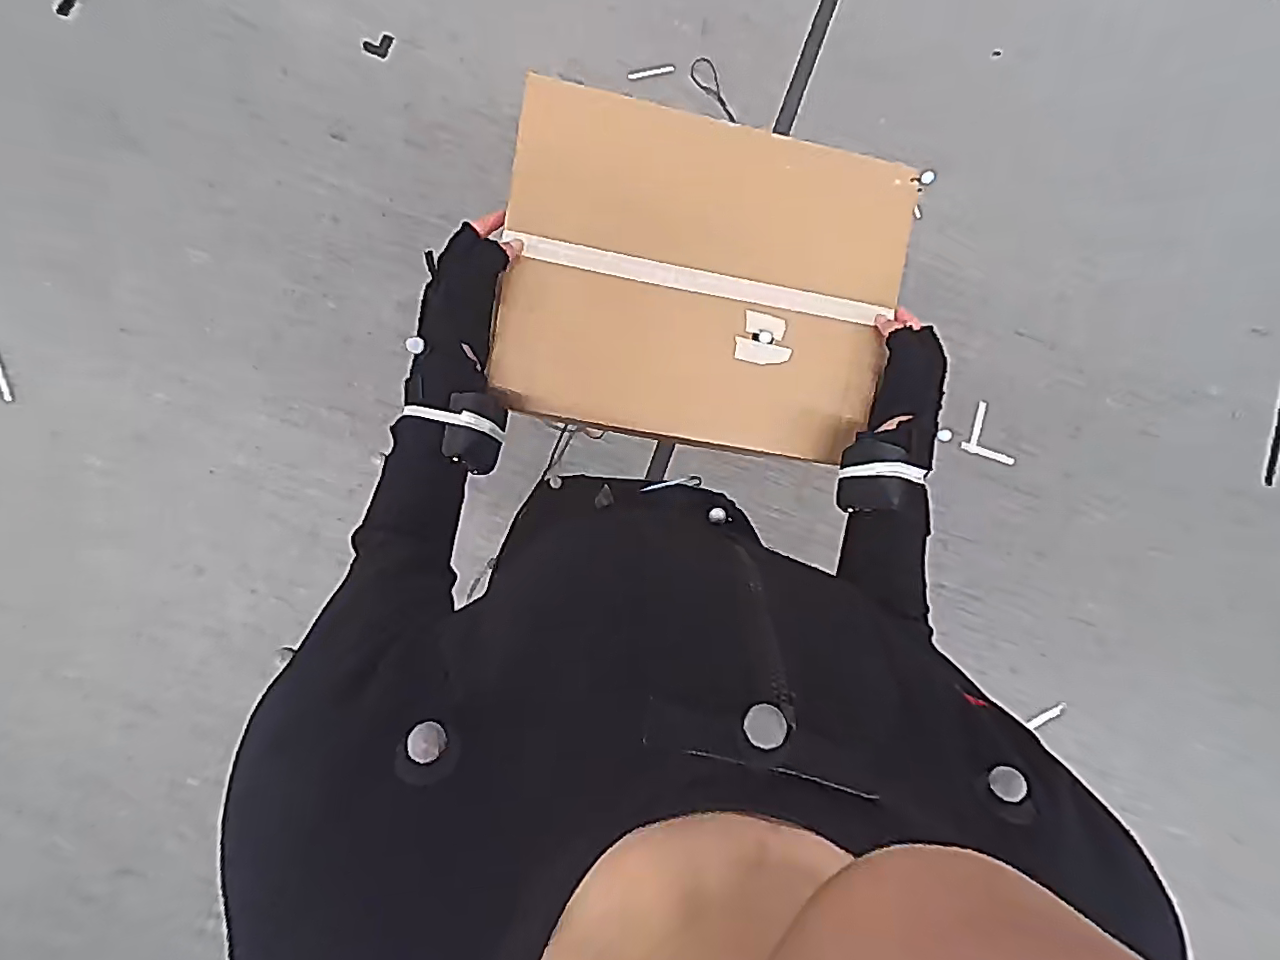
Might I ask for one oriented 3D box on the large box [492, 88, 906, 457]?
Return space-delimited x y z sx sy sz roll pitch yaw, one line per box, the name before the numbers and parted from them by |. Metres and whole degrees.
large box | 0.047 -0.217 0.706 0.408 0.320 0.320 9 95 -8
